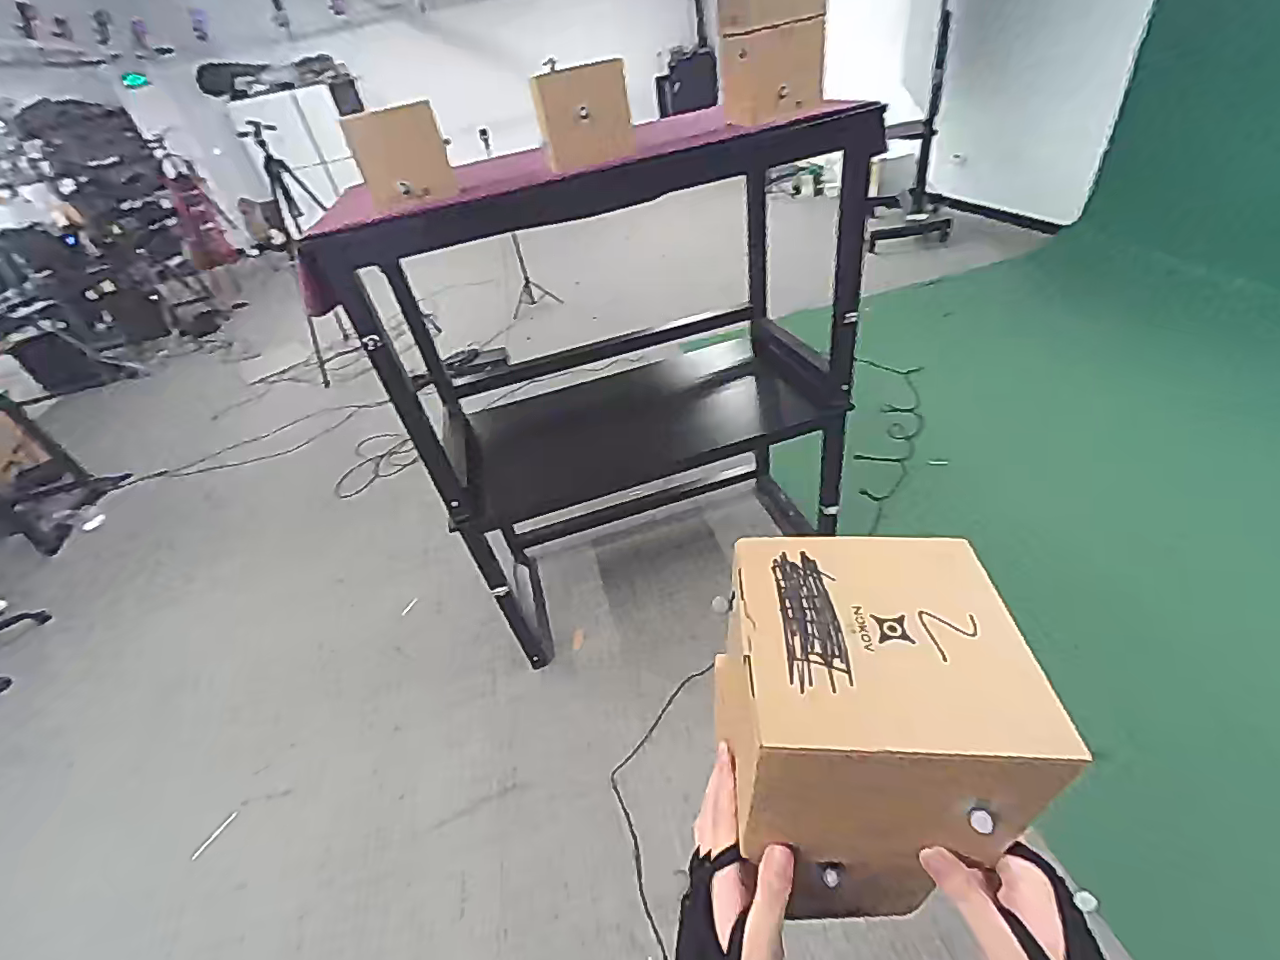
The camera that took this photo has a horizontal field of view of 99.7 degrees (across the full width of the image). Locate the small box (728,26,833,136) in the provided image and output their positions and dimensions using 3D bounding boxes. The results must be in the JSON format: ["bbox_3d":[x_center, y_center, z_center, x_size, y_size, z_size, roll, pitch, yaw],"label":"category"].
[{"bbox_3d":[0.303,-0.873,1.190,0.168,0.176,0.179,-17,39,-5],"label":"small box"}]

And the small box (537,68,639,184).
[{"bbox_3d":[-0.106,-0.744,1.138,0.179,0.176,0.168,-17,37,-4],"label":"small box"}]

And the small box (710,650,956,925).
[{"bbox_3d":[0.157,0.287,0.514,0.168,0.176,0.179,-4,37,2],"label":"small box"}]

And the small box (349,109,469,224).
[{"bbox_3d":[-0.454,-0.631,1.090,0.168,0.176,0.179,-18,38,-7],"label":"small box"}]

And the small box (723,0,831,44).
[{"bbox_3d":[0.271,-0.993,1.081,0.179,0.176,0.168,-17,39,-5],"label":"small box"}]
